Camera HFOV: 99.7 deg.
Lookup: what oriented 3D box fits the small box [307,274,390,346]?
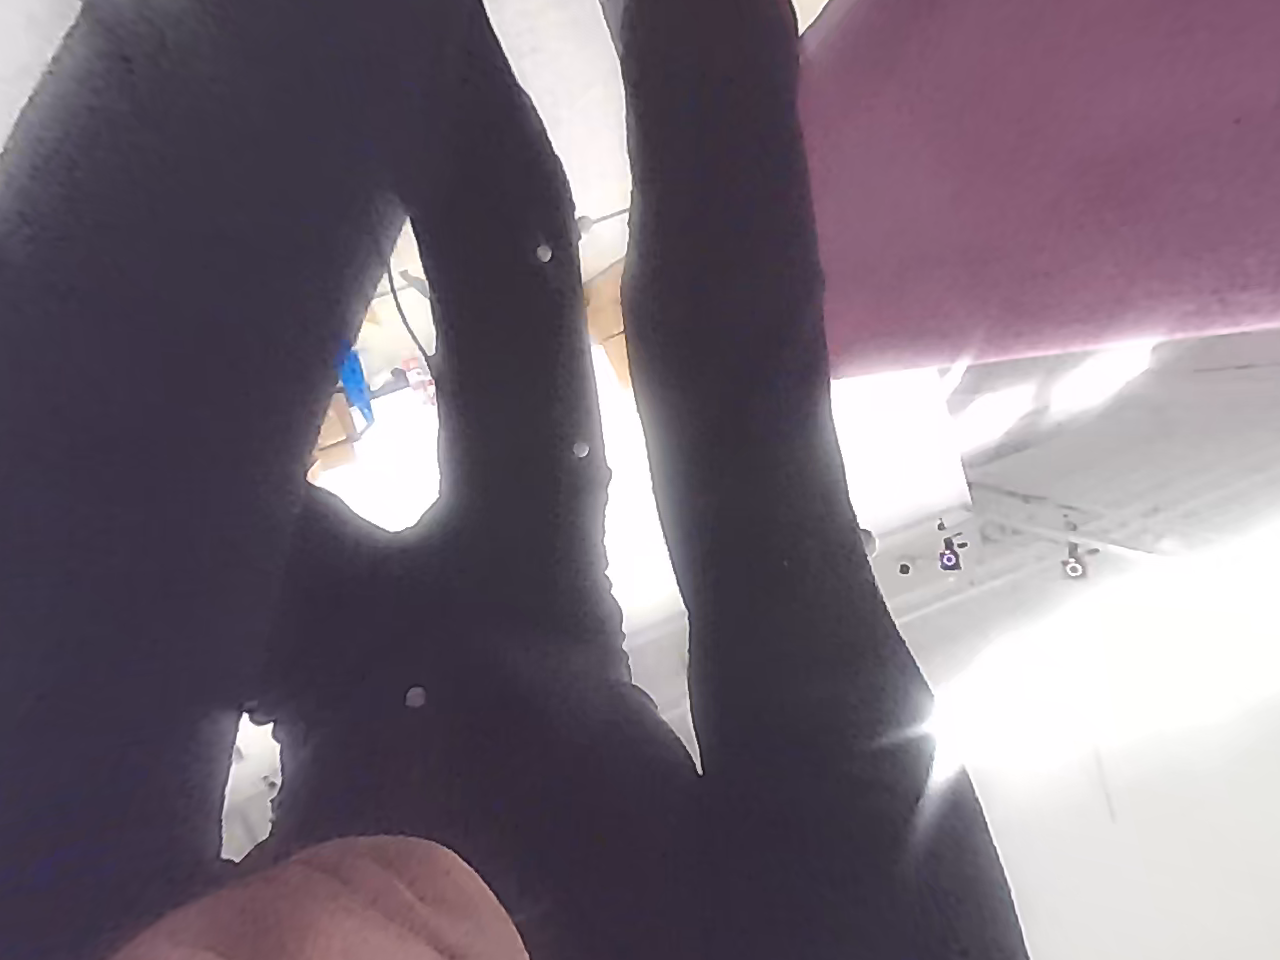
[{"bbox_3d":[-0.985,-0.570,1.821,0.179,0.176,0.168,-20,-172,-1],"label":"small box"}]
